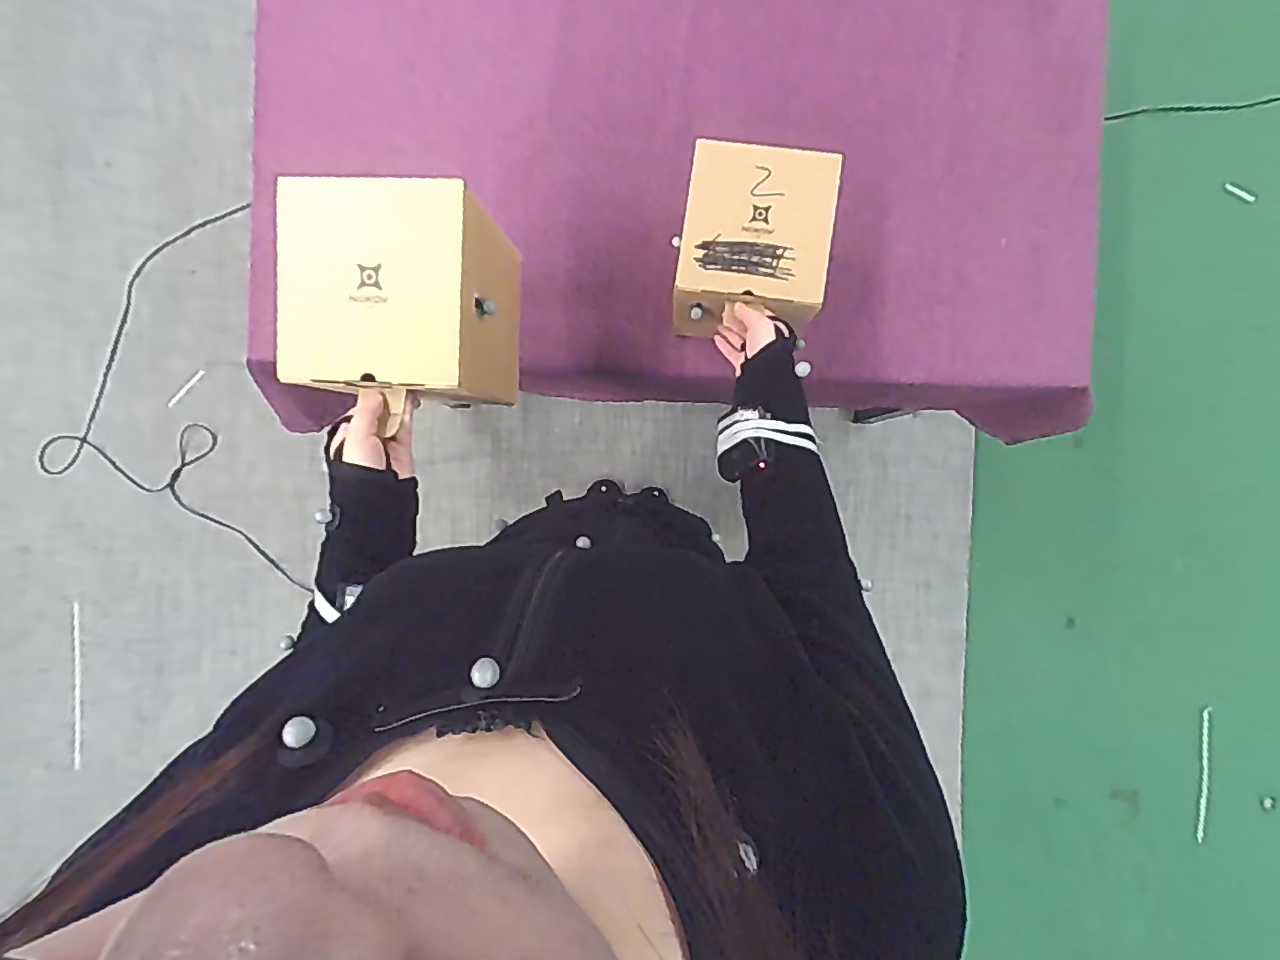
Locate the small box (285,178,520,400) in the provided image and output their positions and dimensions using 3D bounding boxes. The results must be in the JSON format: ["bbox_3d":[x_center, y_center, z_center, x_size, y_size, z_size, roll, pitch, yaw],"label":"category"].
[{"bbox_3d":[-0.228,-0.180,0.557,0.168,0.176,0.179,3,95,4],"label":"small box"}]
